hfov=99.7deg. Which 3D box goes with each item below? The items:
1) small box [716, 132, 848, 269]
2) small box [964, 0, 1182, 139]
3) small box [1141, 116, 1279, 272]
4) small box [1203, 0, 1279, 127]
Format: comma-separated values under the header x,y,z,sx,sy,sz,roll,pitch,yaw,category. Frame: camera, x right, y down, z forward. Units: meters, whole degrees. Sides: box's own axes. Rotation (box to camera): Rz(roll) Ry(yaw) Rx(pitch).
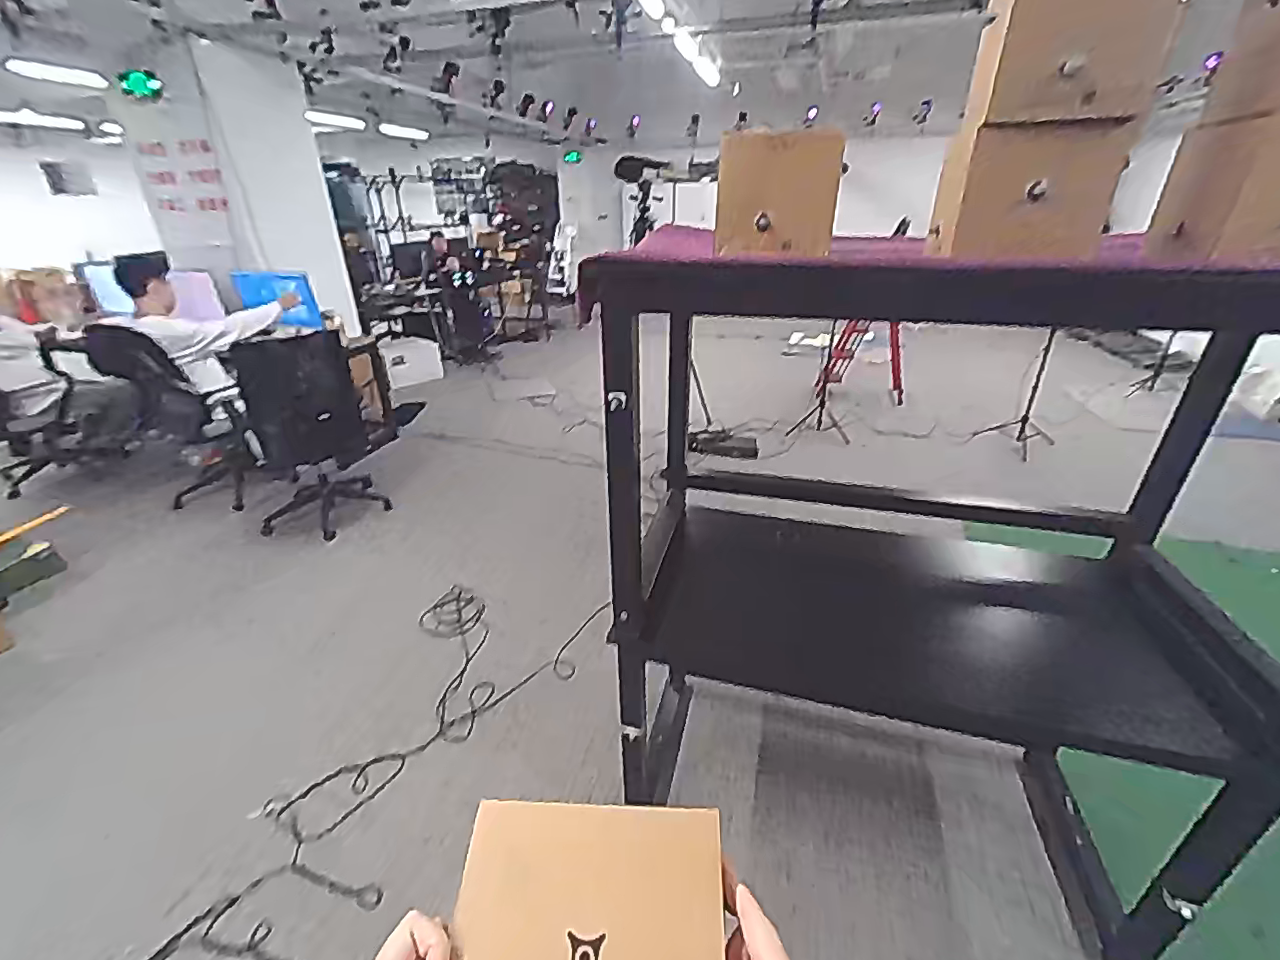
x,y,z,sx,sy,sz,roll,pitch,yaw,category
0.209,-0.423,0.829,0.168,0.176,0.179,6,26,10,small box
0.529,-0.537,0.681,0.168,0.176,0.179,8,29,18,small box
0.807,-0.362,0.692,0.168,0.176,0.179,7,28,15,small box
0.813,-0.506,0.615,0.168,0.176,0.179,7,29,18,small box
